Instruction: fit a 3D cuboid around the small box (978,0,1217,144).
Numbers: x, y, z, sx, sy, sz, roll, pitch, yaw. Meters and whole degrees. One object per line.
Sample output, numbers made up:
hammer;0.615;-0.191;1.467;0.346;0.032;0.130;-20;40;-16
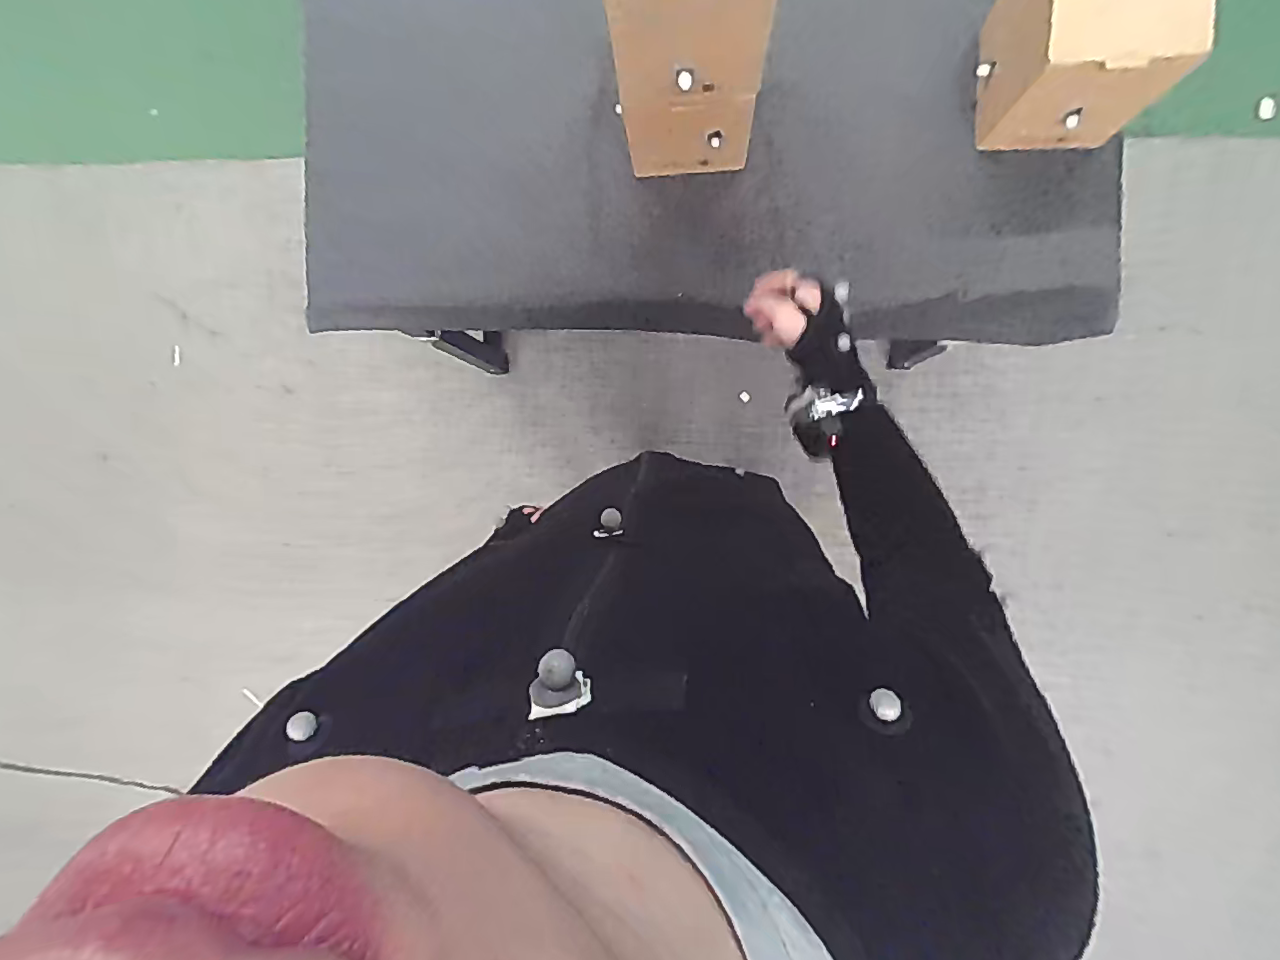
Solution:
small box;0.545;-0.543;0.665;0.168;0.176;0.179;3;92;6

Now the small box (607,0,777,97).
small box;0.049;-0.537;0.551;0.168;0.176;0.179;-2;92;4

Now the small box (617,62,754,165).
small box;0.061;-0.543;0.714;0.168;0.176;0.179;-1;90;4
